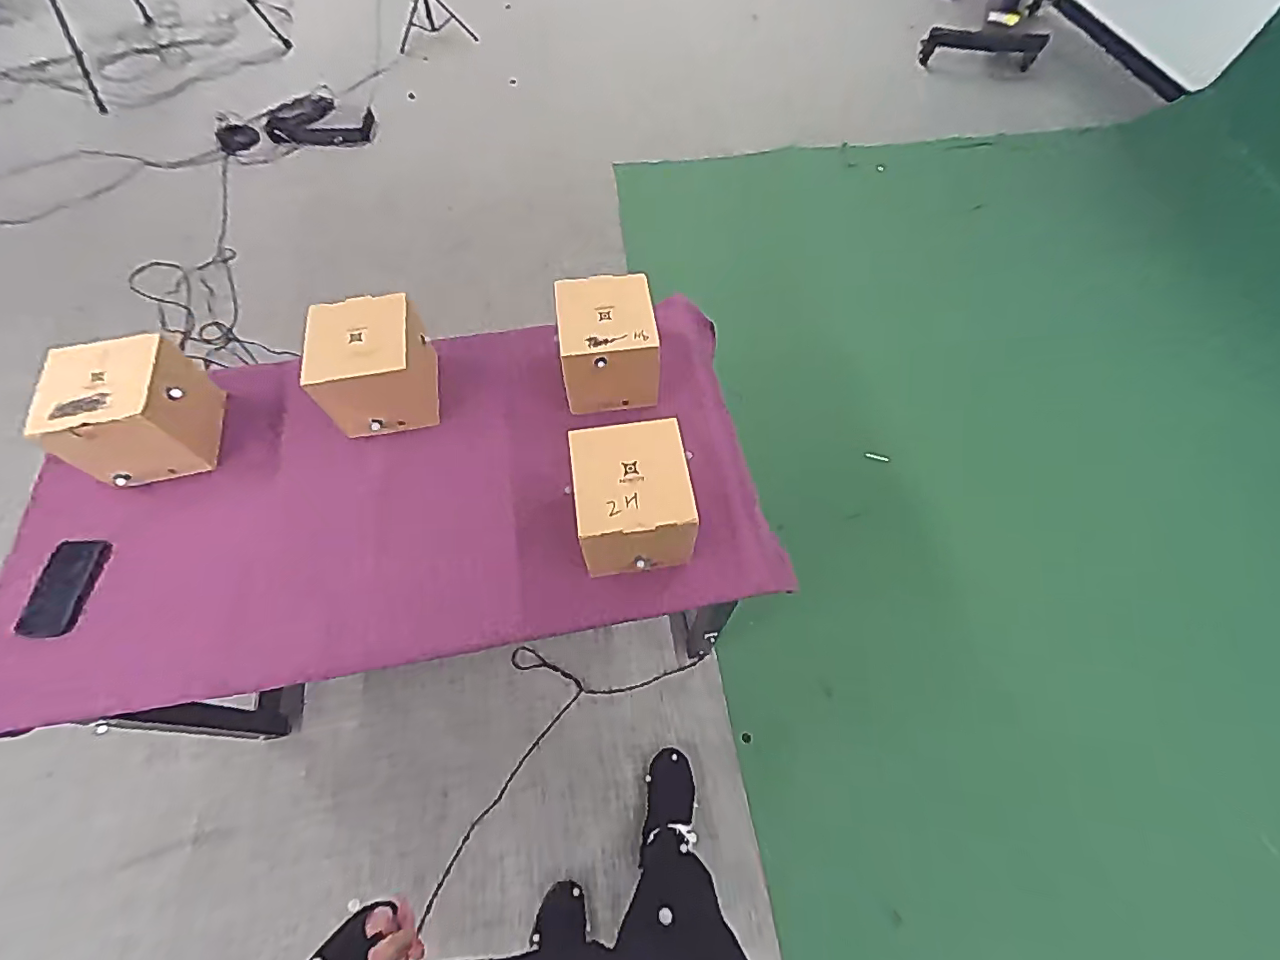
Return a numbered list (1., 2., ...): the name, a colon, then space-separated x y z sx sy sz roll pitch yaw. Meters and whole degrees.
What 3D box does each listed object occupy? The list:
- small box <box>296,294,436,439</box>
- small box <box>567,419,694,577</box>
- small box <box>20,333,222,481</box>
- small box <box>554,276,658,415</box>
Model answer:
1. small box: -0.471 -0.197 0.958 0.168 0.176 0.179 -10 62 -5
2. small box: -0.017 0.032 0.828 0.168 0.176 0.179 -7 61 -3
3. small box: -0.847 -0.112 0.907 0.168 0.176 0.179 -12 61 -8
4. small box: -0.063 -0.241 0.984 0.168 0.176 0.179 -7 61 -3
